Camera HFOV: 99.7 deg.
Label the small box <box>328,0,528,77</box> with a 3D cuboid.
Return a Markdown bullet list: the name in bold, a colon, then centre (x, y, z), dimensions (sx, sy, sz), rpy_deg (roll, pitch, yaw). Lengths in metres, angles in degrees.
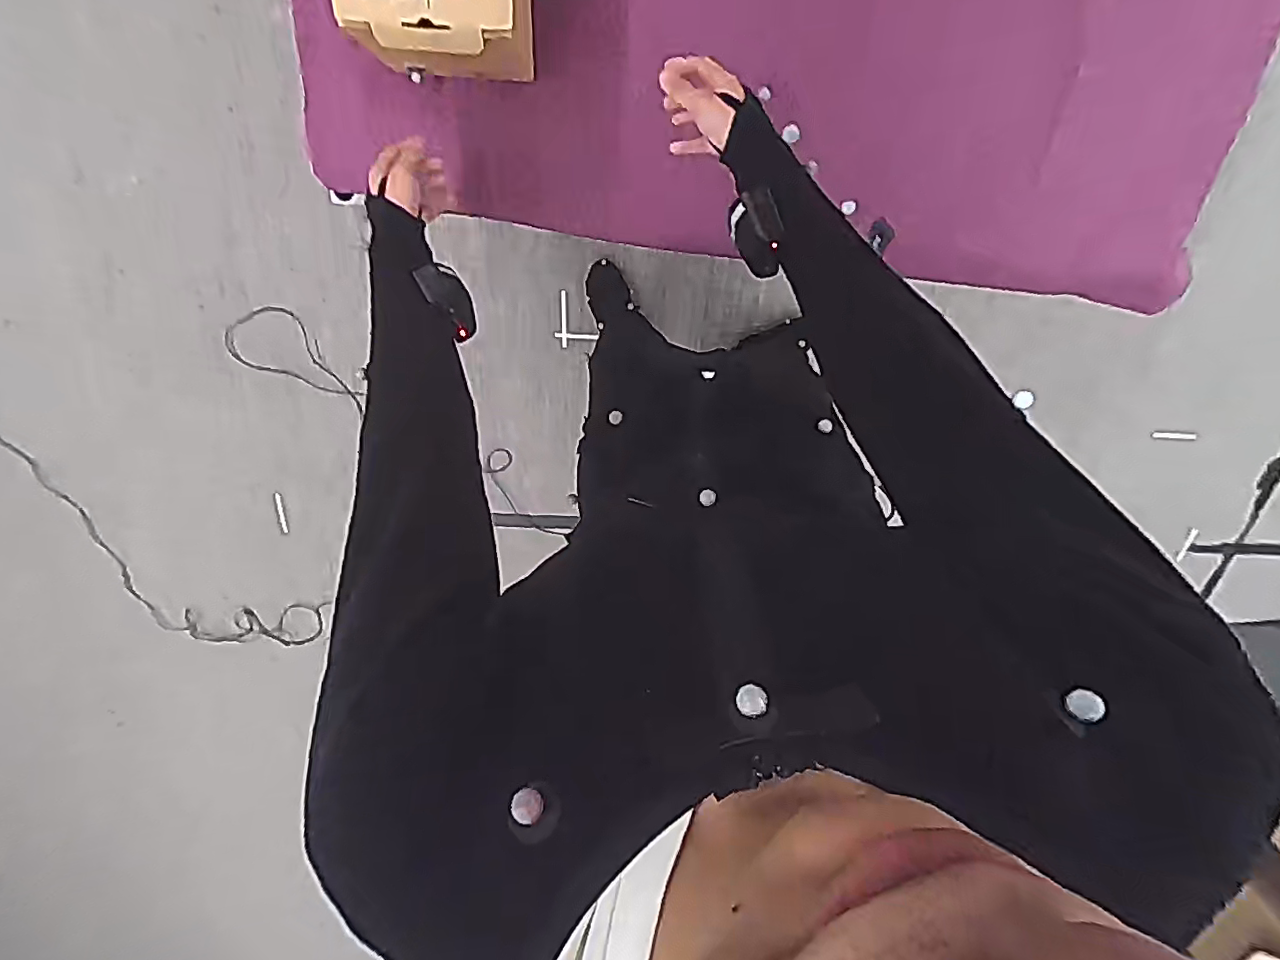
- **small box**: centre (-0.207, -0.533, 0.545), dimensions (0.168, 0.176, 0.179), rpy_deg (0, 114, -5)
